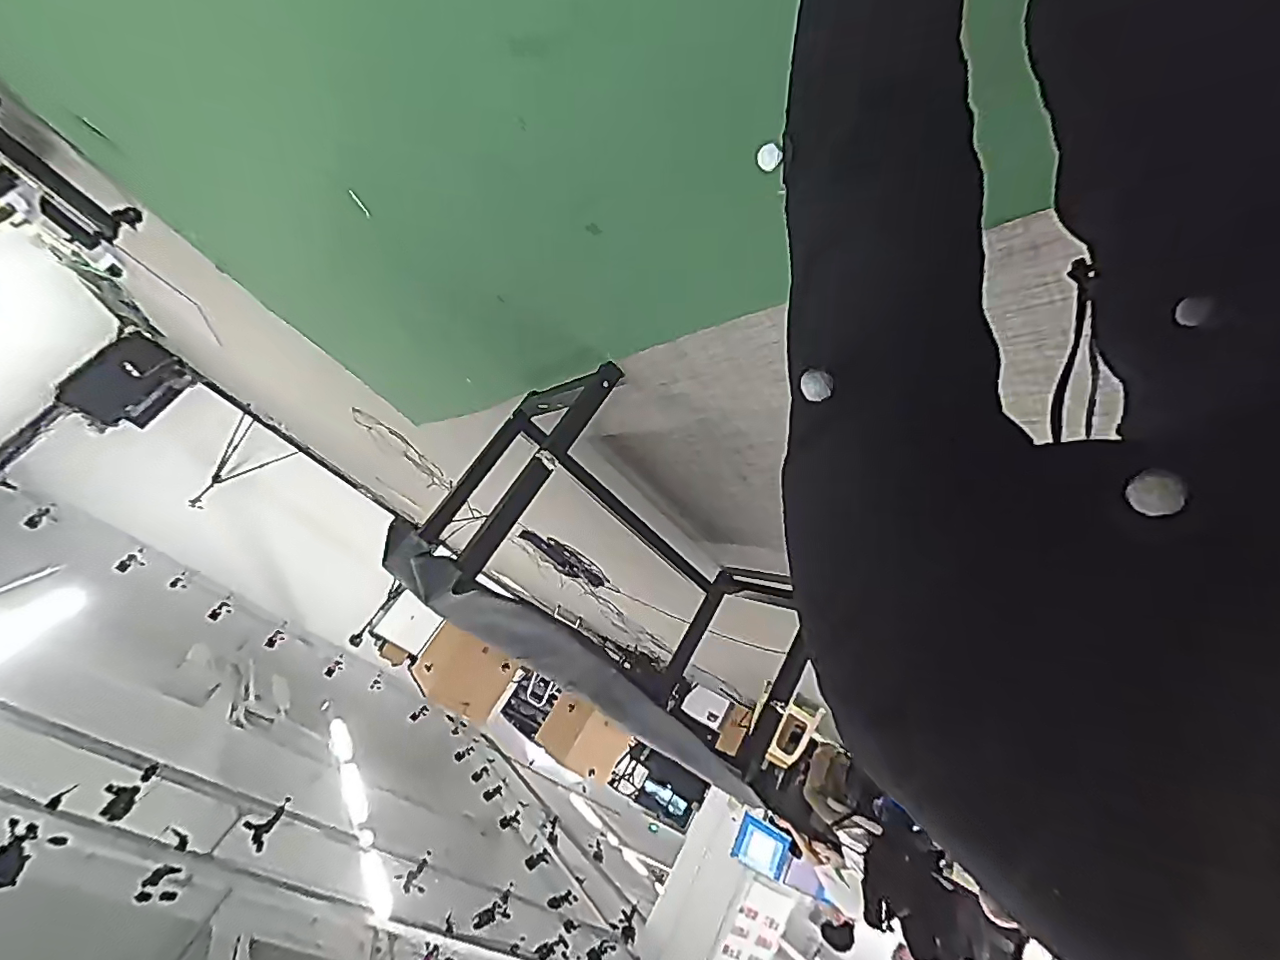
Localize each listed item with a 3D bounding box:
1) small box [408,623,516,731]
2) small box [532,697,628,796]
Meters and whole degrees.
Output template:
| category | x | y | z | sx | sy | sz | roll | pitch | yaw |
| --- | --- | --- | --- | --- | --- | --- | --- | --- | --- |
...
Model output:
| category | x | y | z | sx | sy | sz | roll | pitch | yaw |
| --- | --- | --- | --- | --- | --- | --- | --- | --- | --- |
| small box | -0.429 | 0.471 | 1.317 | 0.168 | 0.176 | 0.179 | 44 | 159 | -26 |
| small box | -0.163 | 0.734 | 1.511 | 0.168 | 0.176 | 0.179 | 44 | 158 | -26 |
